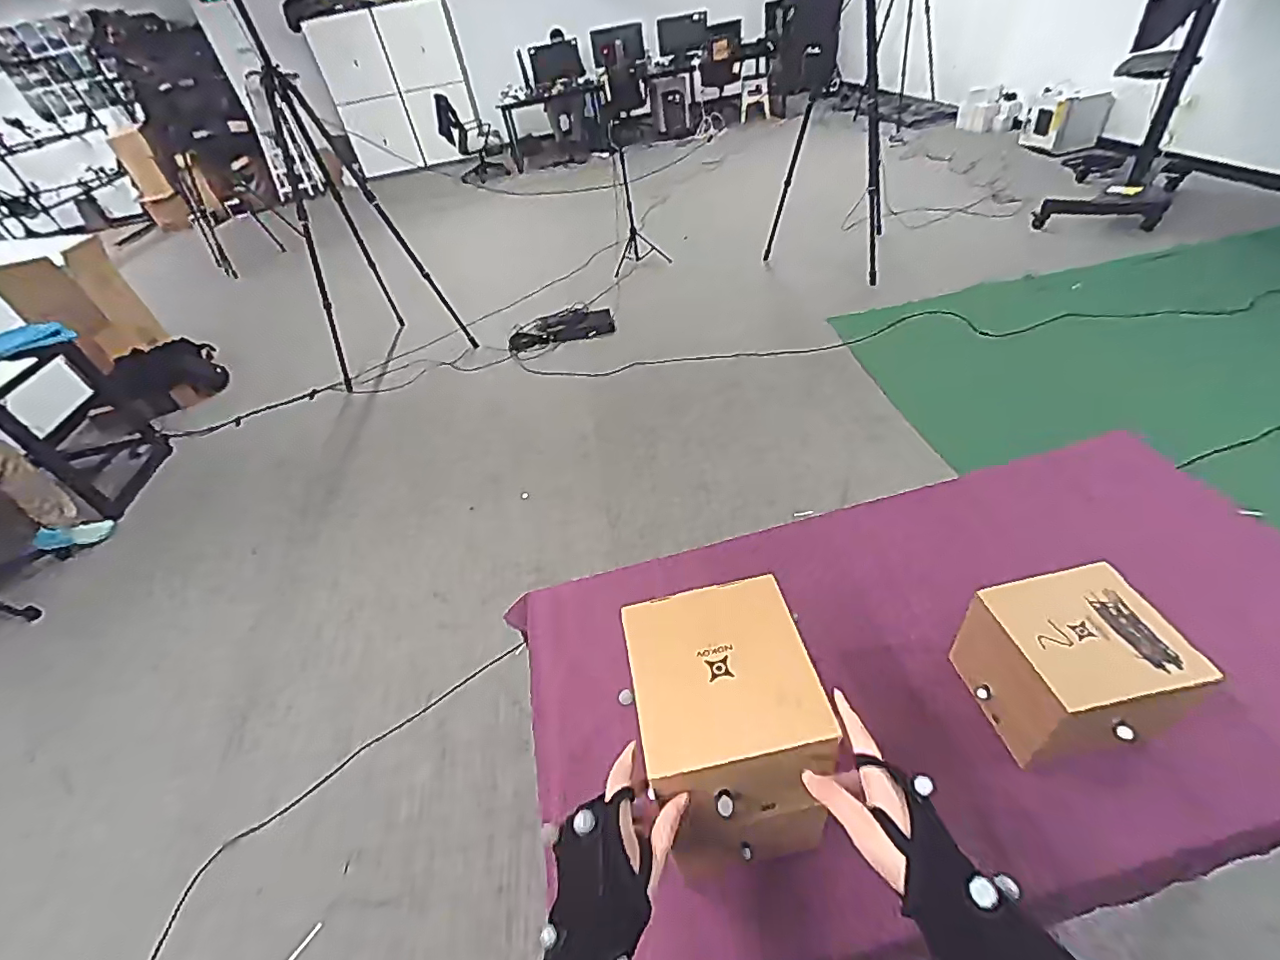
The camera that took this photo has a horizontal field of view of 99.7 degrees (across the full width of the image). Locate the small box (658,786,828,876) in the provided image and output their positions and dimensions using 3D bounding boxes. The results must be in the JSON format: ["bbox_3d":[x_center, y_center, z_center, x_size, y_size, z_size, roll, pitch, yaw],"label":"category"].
[{"bbox_3d":[0.108,0.354,0.664,0.179,0.176,0.168,-14,41,-1],"label":"small box"}]

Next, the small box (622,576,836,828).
[{"bbox_3d":[0.085,0.232,0.558,0.168,0.176,0.179,-13,41,-1],"label":"small box"}]
